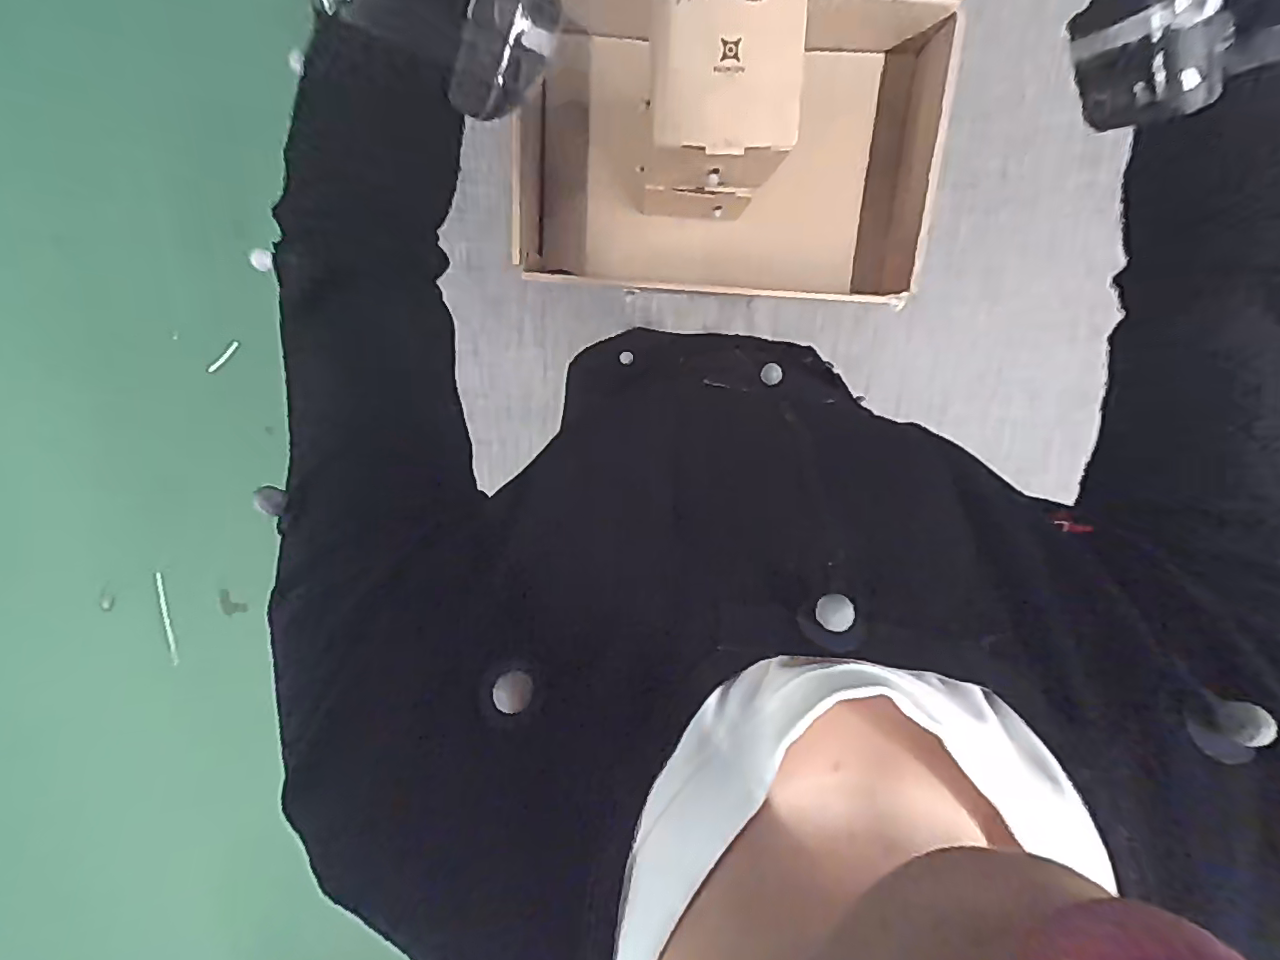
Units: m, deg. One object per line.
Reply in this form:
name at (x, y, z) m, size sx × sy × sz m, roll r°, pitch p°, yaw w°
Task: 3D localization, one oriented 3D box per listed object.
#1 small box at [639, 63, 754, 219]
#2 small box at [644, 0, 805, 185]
small box at (0.085, -0.513, 0.829) m, size 0.168 × 0.176 × 0.179 m, roll 3°, pitch 103°, yaw -3°
small box at (0.092, -0.479, 0.668) m, size 0.168 × 0.176 × 0.179 m, roll 0°, pitch 106°, yaw -2°
